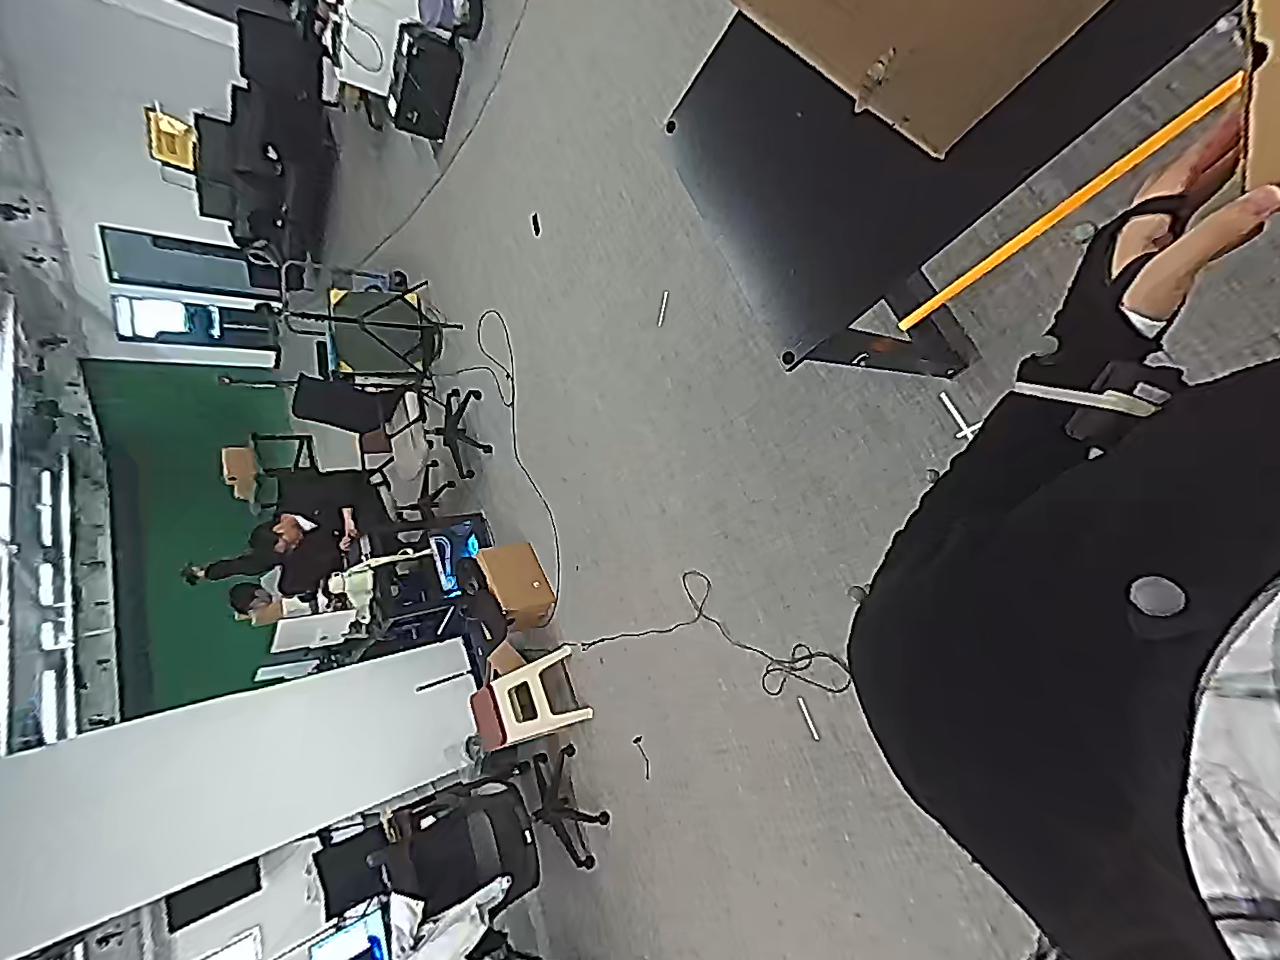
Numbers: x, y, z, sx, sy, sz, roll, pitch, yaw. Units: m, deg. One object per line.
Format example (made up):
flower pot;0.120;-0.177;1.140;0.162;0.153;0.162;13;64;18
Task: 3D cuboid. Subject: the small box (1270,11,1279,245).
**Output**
small box;0.396;-0.205;0.222;0.179;0.176;0.168;1;109;47
